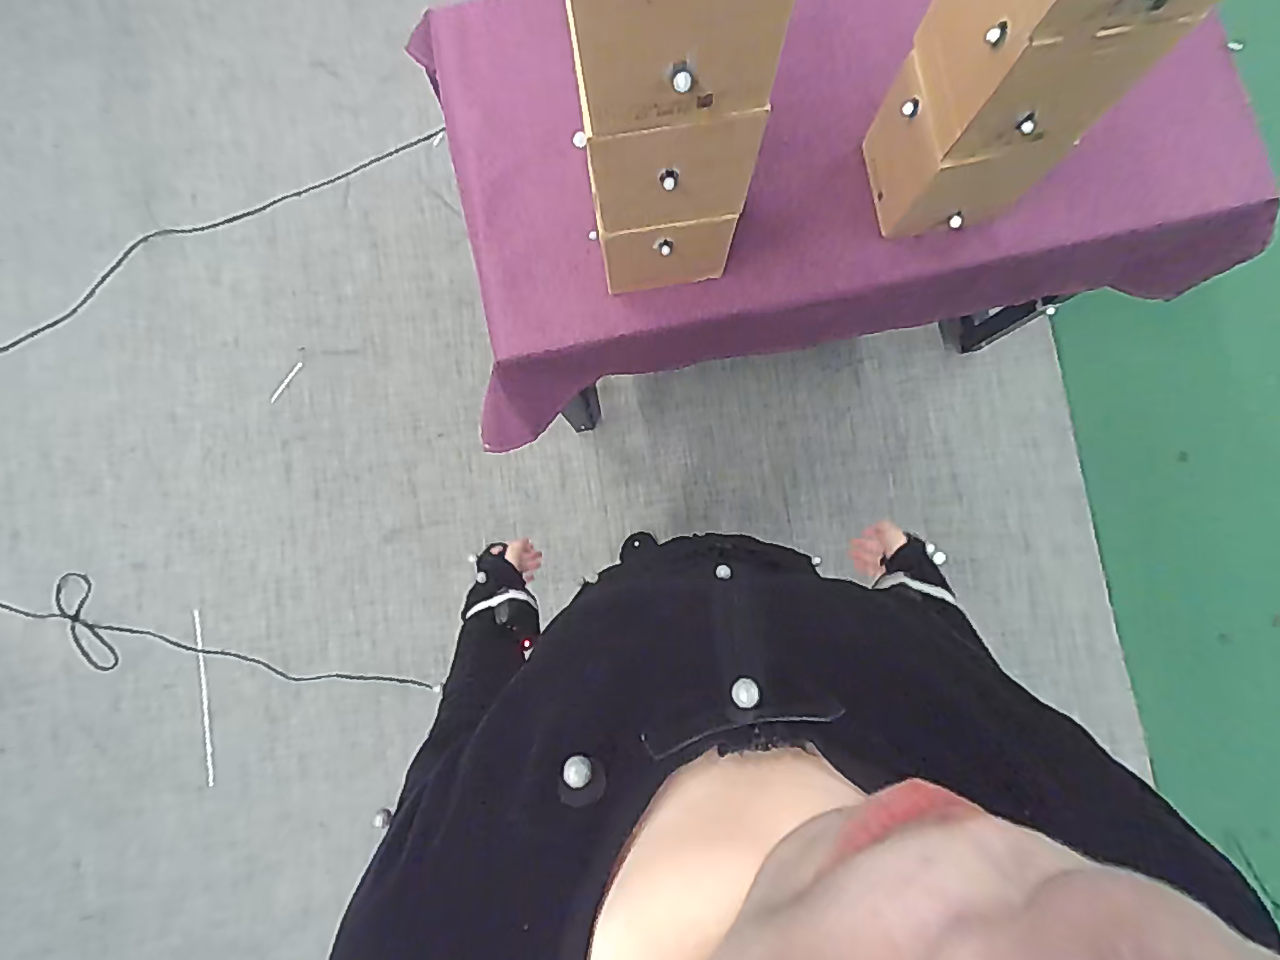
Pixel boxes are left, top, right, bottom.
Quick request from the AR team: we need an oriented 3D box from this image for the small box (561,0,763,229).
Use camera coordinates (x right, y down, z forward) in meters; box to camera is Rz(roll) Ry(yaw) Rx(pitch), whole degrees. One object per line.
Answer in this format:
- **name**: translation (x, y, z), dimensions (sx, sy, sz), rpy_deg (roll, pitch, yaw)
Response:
- **small box**: translation (0.022, -0.405, 0.592), dimensions (0.179, 0.176, 0.168), rpy_deg (-9, 85, 2)

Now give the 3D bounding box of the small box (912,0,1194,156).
- **small box**: translation (0.424, -0.498, 0.590), dimensions (0.168, 0.176, 0.179), rpy_deg (-9, 85, 1)

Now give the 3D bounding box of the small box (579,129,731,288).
- **small box**: translation (0.020, -0.386, 0.755), dimensions (0.179, 0.176, 0.168), rpy_deg (-8, 85, 0)

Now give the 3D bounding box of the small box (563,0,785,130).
- **small box**: translation (0.016, -0.426, 0.428), dimensions (0.168, 0.176, 0.179), rpy_deg (-10, 85, 1)

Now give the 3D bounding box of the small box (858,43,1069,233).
- **small box**: translation (0.432, -0.473, 0.751), dimensions (0.179, 0.176, 0.168), rpy_deg (-9, 84, 0)
